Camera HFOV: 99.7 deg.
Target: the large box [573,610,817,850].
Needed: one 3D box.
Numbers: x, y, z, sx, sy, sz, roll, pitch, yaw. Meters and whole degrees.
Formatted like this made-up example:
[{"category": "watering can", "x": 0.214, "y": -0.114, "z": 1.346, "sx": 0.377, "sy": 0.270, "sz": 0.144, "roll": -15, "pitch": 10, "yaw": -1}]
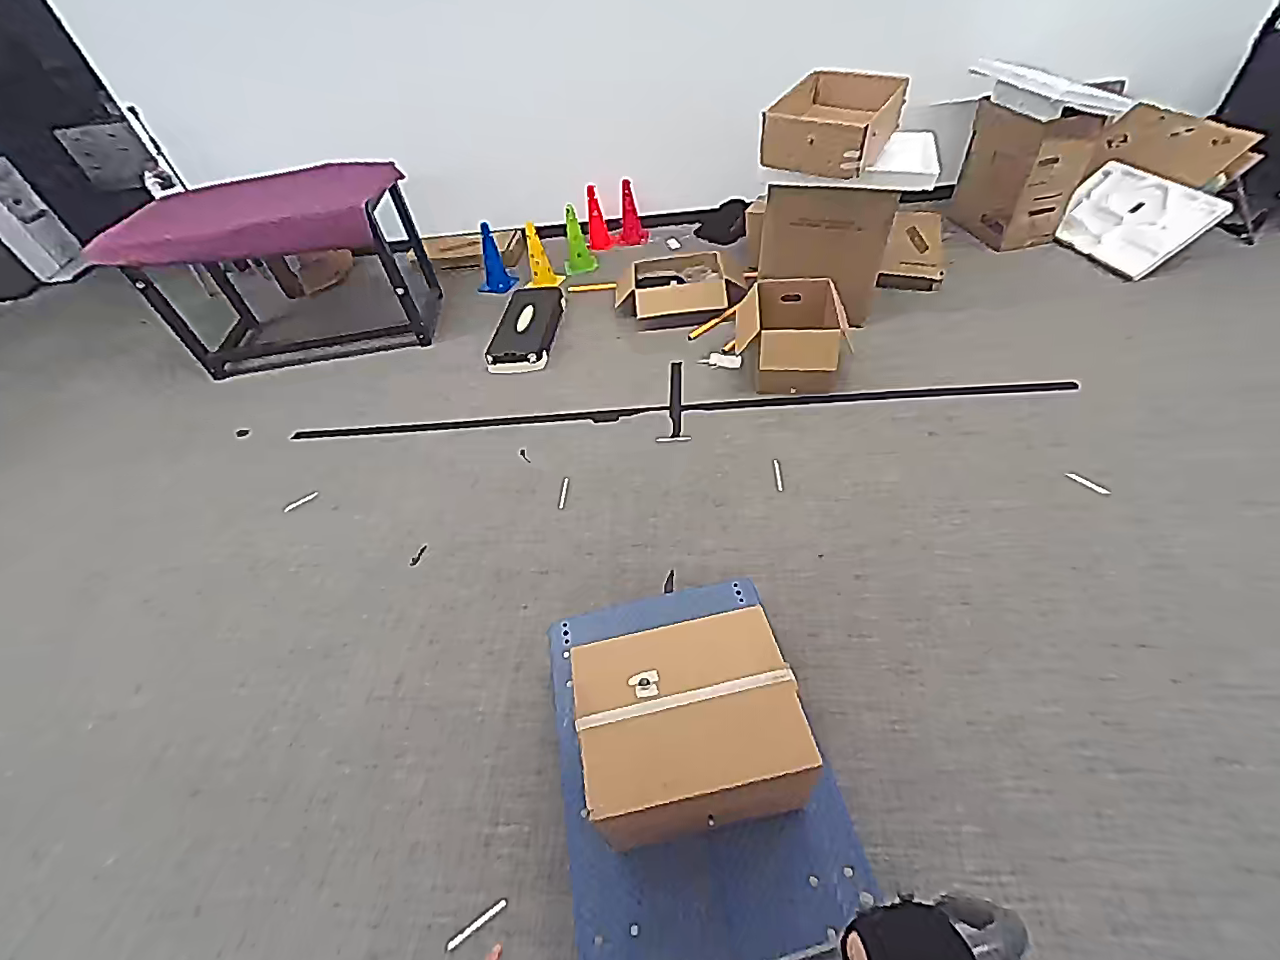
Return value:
[{"category": "large box", "x": 0.104, "y": 0.523, "z": 1.126, "sx": 0.408, "sy": 0.320, "sz": 0.320, "roll": -13, "pitch": 46, "yaw": -2}]
